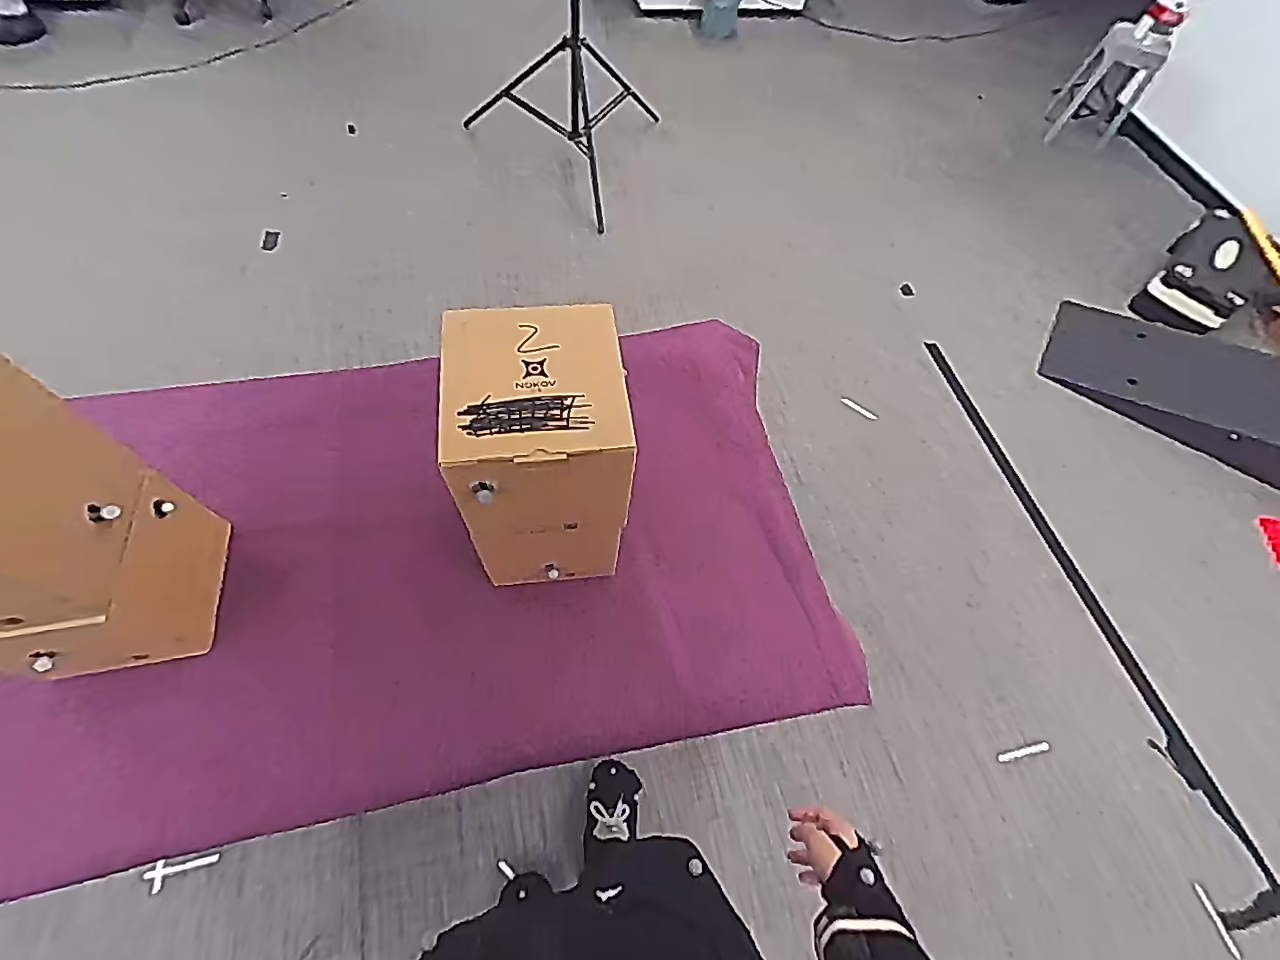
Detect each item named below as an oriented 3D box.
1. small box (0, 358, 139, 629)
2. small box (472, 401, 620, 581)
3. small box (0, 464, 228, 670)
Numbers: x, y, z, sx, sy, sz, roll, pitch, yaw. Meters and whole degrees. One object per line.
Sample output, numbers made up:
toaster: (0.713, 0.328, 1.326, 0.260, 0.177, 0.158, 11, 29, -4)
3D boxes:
small box: (-0.591, 0.022, 0.466, 0.168, 0.176, 0.179, -8, 62, -10)
small box: (-0.119, 0.018, 0.706, 0.168, 0.176, 0.179, -4, 62, -7)
small box: (-0.605, 0.105, 0.607, 0.168, 0.176, 0.179, -8, 62, -10)
